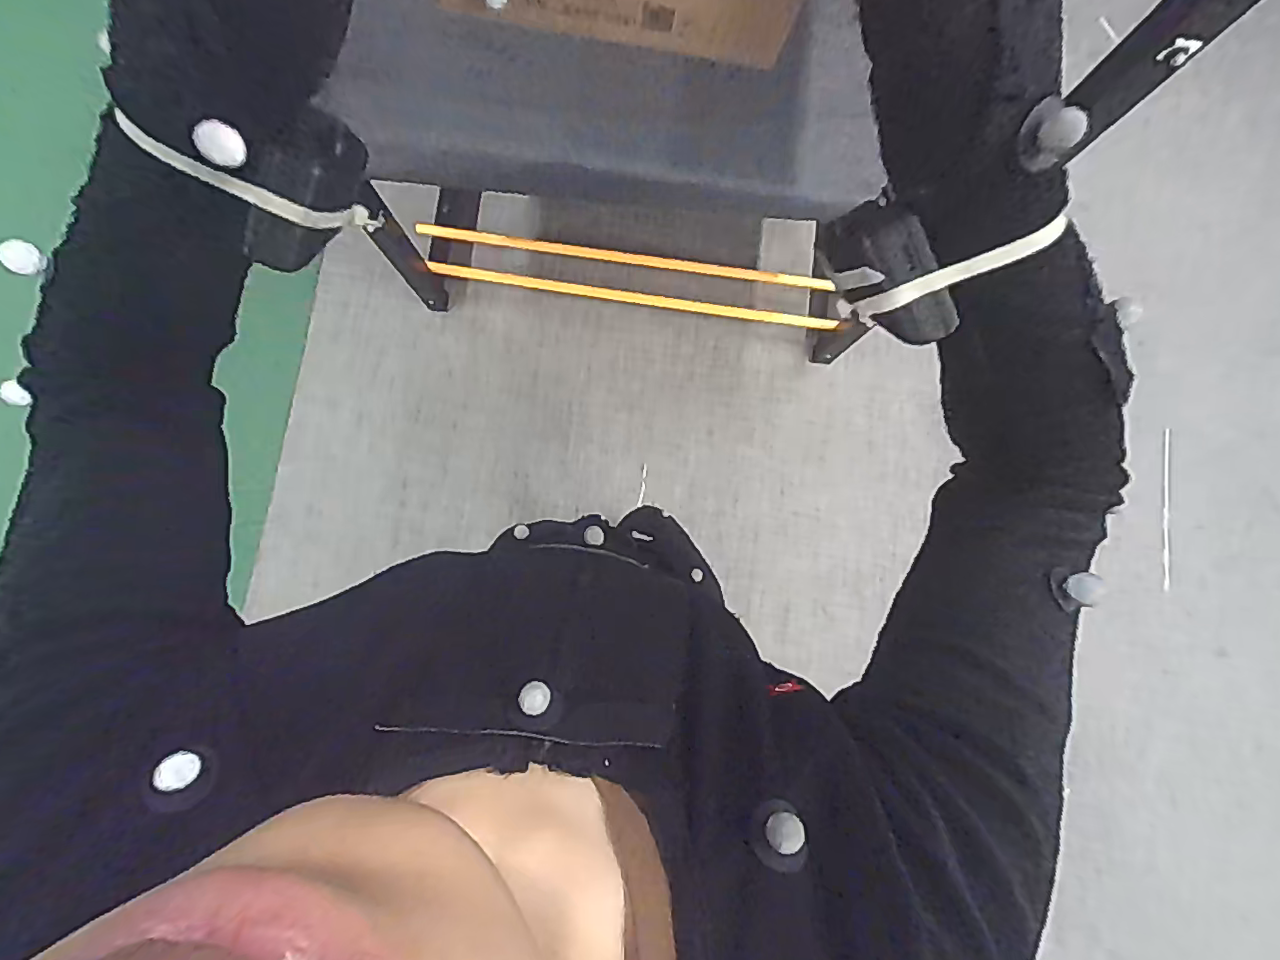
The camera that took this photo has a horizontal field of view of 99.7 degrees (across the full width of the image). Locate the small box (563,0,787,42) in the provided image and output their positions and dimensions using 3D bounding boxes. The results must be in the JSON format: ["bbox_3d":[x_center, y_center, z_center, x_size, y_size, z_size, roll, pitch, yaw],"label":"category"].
[{"bbox_3d":[0.002,-0.299,0.178,0.168,0.176,0.179,6,93,-6],"label":"small box"}]
